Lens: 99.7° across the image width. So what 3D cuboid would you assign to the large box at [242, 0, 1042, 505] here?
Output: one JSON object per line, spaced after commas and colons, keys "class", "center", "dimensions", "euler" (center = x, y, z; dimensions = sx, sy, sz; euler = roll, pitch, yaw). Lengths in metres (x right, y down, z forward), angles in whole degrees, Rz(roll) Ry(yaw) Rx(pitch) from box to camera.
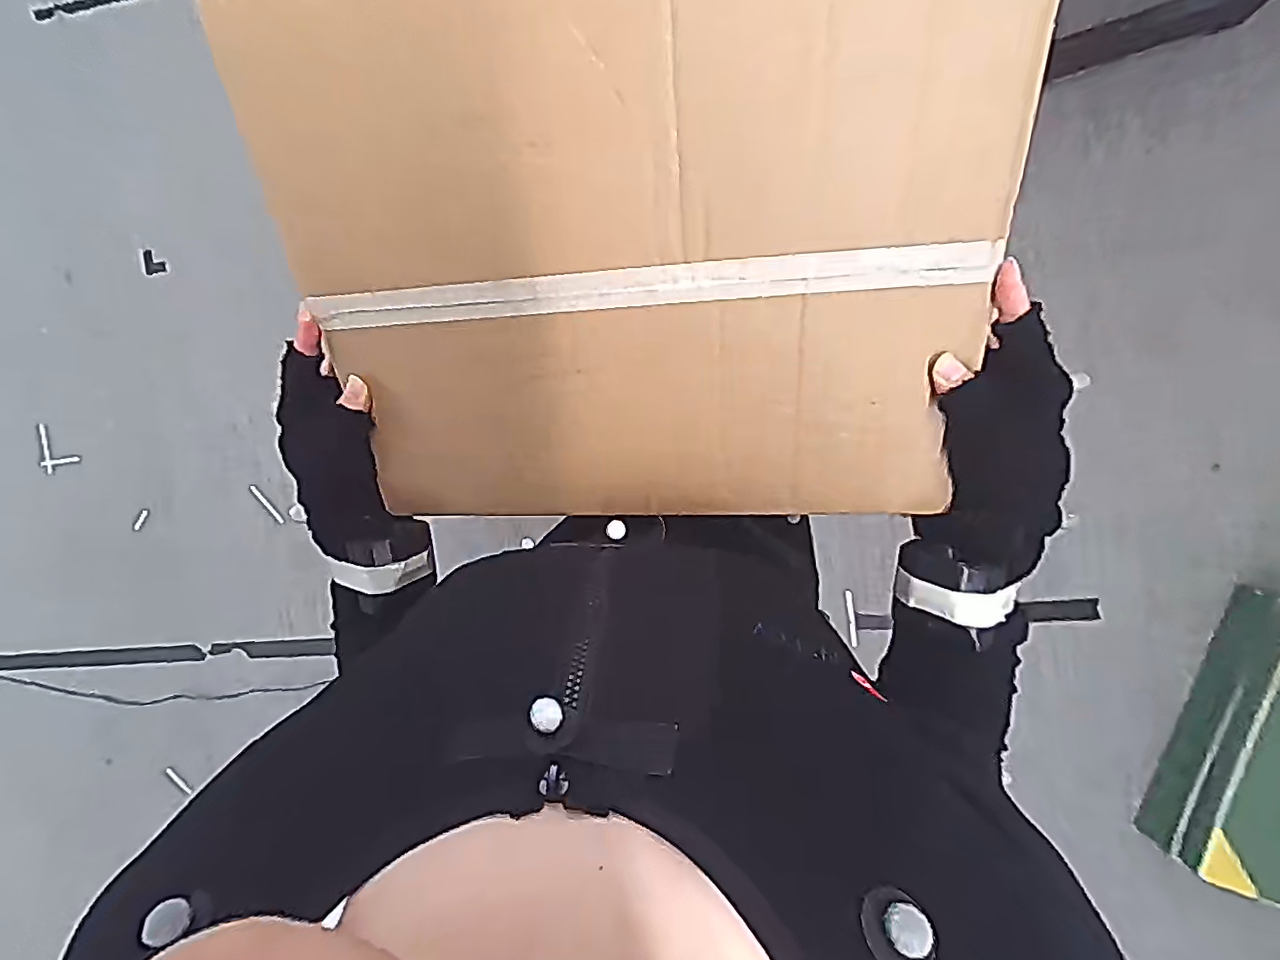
{"class": "large box", "center": [0.013, -0.190, 0.453], "dimensions": [0.408, 0.320, 0.320], "euler": [0, 120, 9]}
